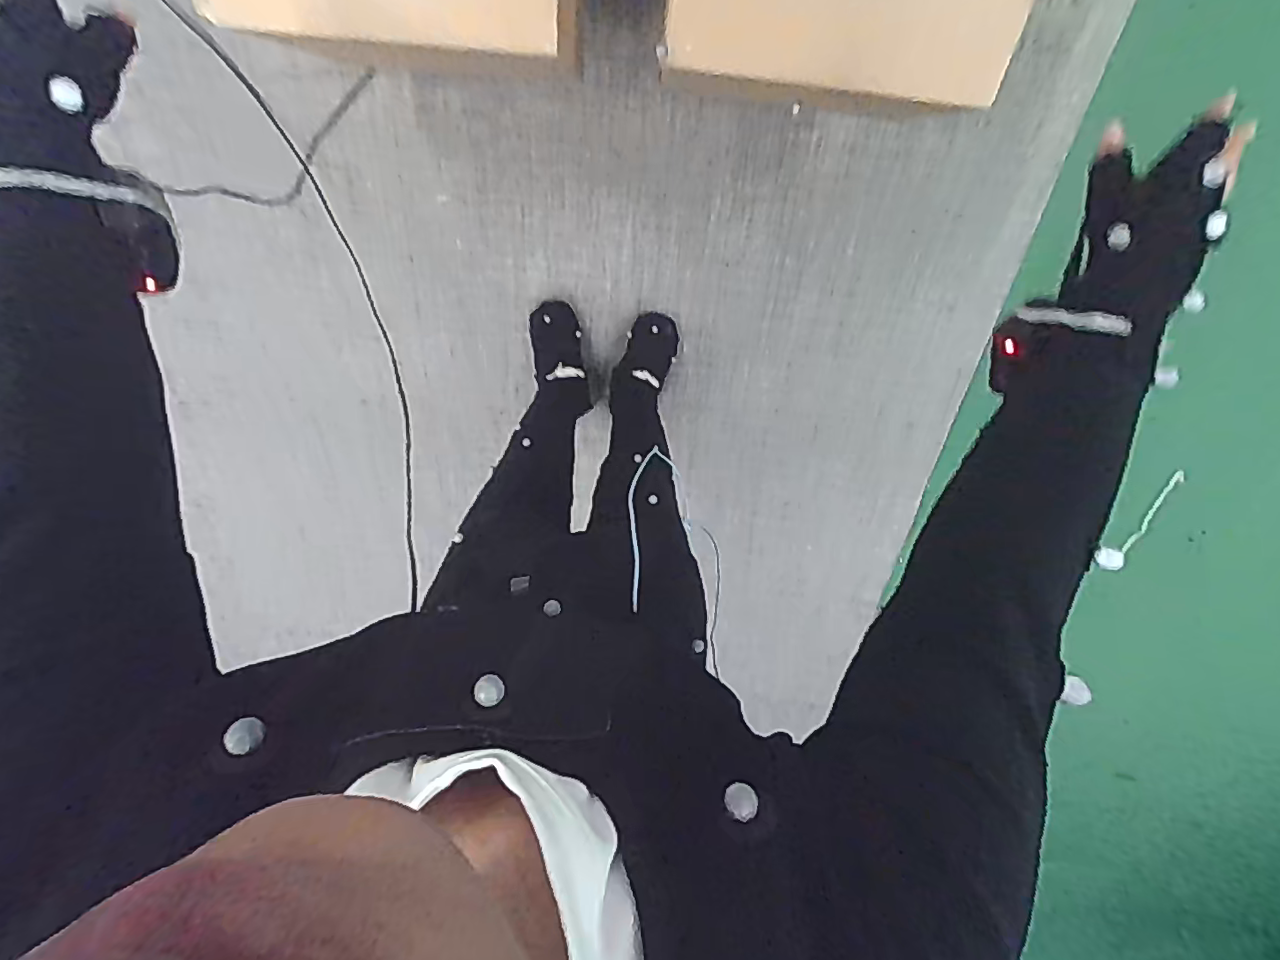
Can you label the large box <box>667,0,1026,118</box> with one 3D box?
[{"bbox_3d":[0.255,-0.684,0.713,0.408,0.320,0.320,6,121,-2],"label":"large box"}]
